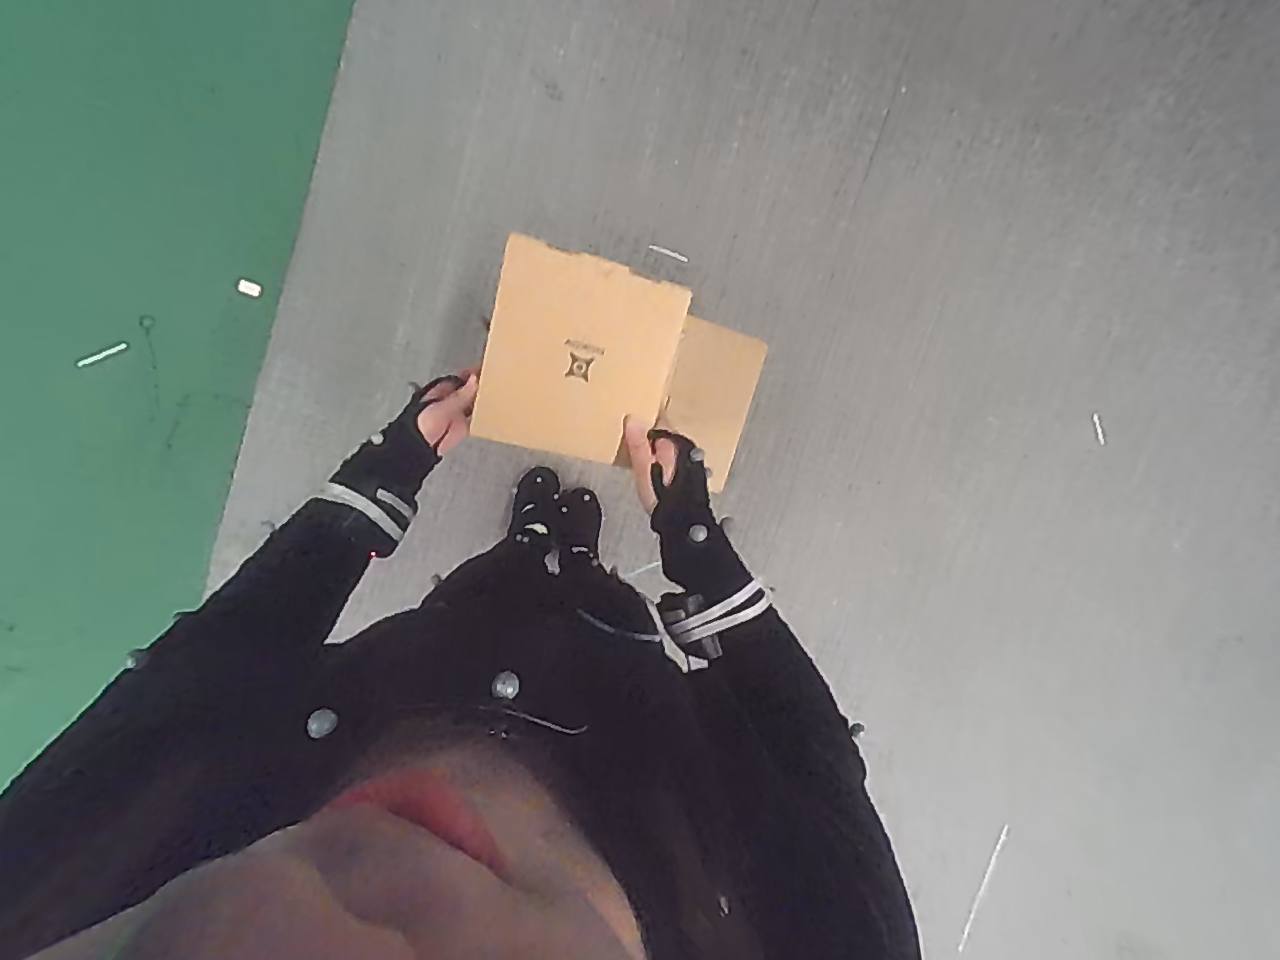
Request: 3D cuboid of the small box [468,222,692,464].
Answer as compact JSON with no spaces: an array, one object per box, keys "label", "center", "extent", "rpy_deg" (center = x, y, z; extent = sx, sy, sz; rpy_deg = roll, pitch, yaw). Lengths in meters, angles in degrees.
[{"label":"small box","center":[-0.069,-0.137,0.548],"extent":[0.168,0.176,0.179],"rpy_deg":[12,107,-17]}]
